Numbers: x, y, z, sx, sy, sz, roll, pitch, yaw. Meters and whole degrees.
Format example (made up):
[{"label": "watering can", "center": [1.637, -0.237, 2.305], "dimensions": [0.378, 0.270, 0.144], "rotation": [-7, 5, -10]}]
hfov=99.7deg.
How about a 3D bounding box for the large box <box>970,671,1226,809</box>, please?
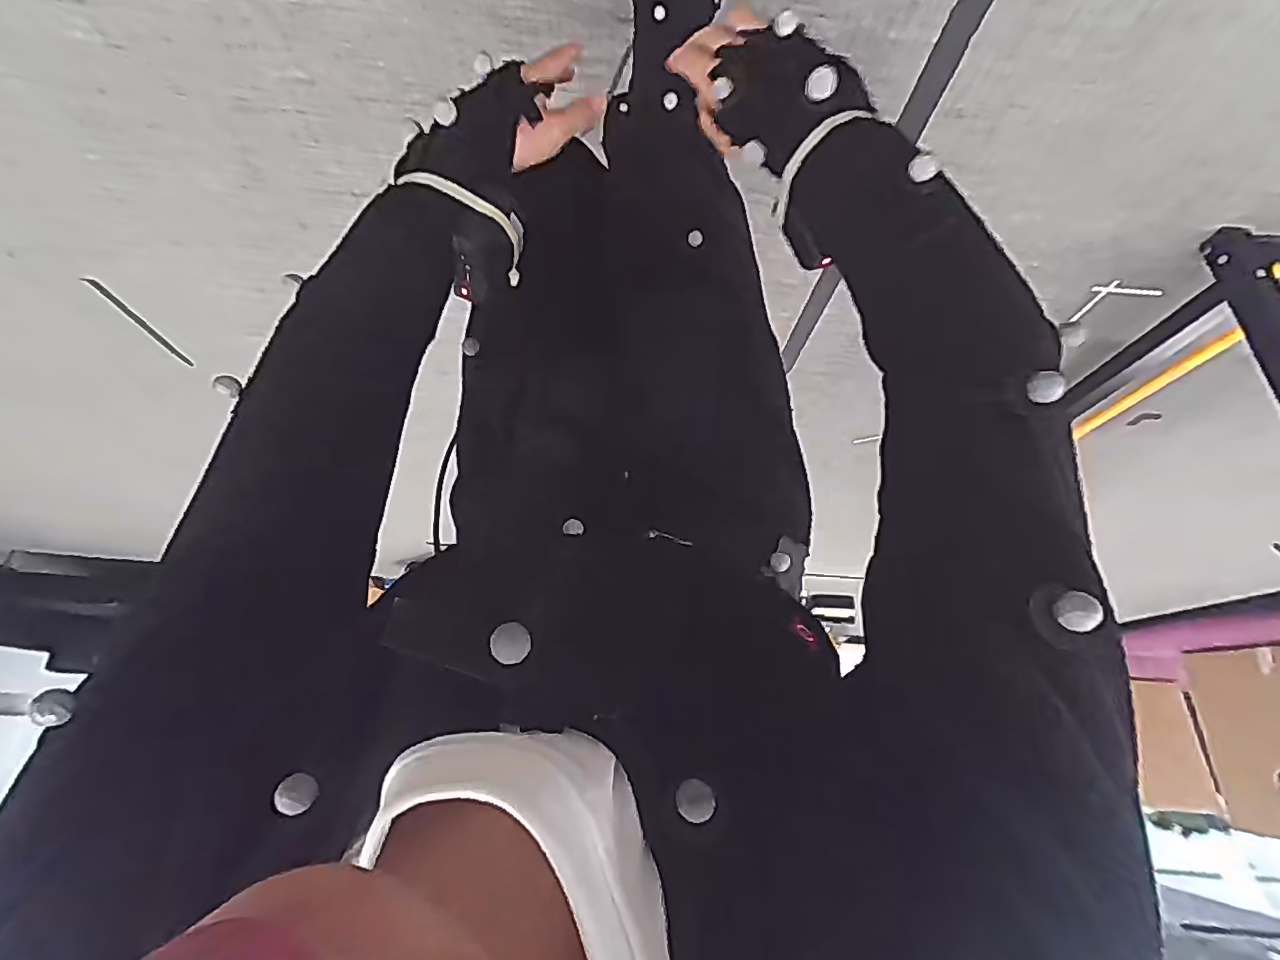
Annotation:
[{"label": "large box", "center": [1.241, 0.724, 1.522], "dimensions": [0.408, 0.320, 0.320], "rotation": [3, 156, -1]}]
